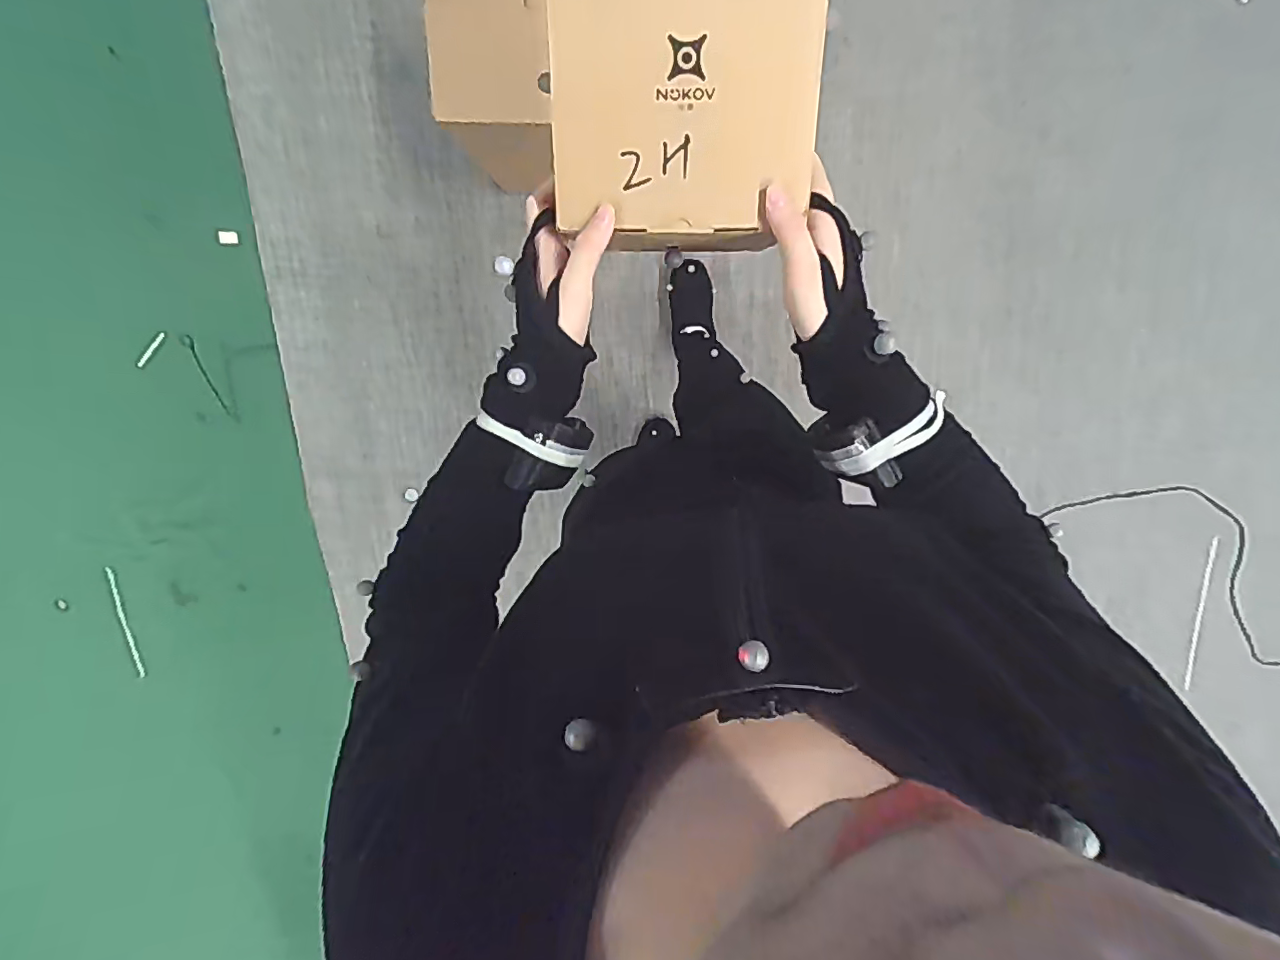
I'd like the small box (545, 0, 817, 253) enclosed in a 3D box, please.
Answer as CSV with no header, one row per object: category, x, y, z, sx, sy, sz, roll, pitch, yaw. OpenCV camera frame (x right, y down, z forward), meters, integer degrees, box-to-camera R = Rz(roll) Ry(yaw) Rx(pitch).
small box,0.026,-0.275,0.408,0.168,0.176,0.179,1,108,3
